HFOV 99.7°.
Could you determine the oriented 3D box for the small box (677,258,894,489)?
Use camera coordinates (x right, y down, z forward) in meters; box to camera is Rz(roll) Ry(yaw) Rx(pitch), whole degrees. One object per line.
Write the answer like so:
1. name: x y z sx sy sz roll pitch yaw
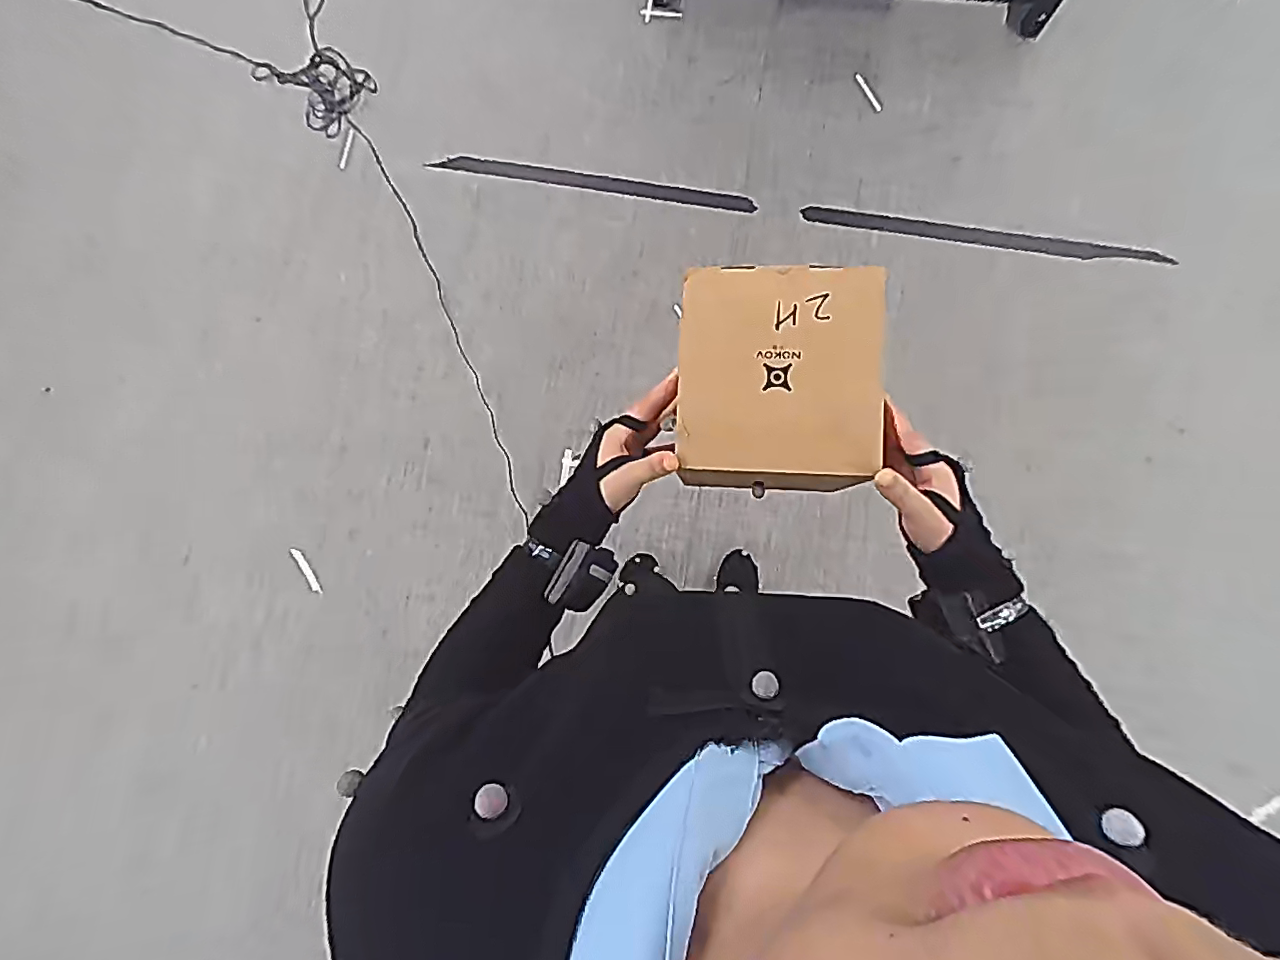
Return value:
1. small box: 0.127 -0.087 0.512 0.168 0.176 0.179 3 83 7
